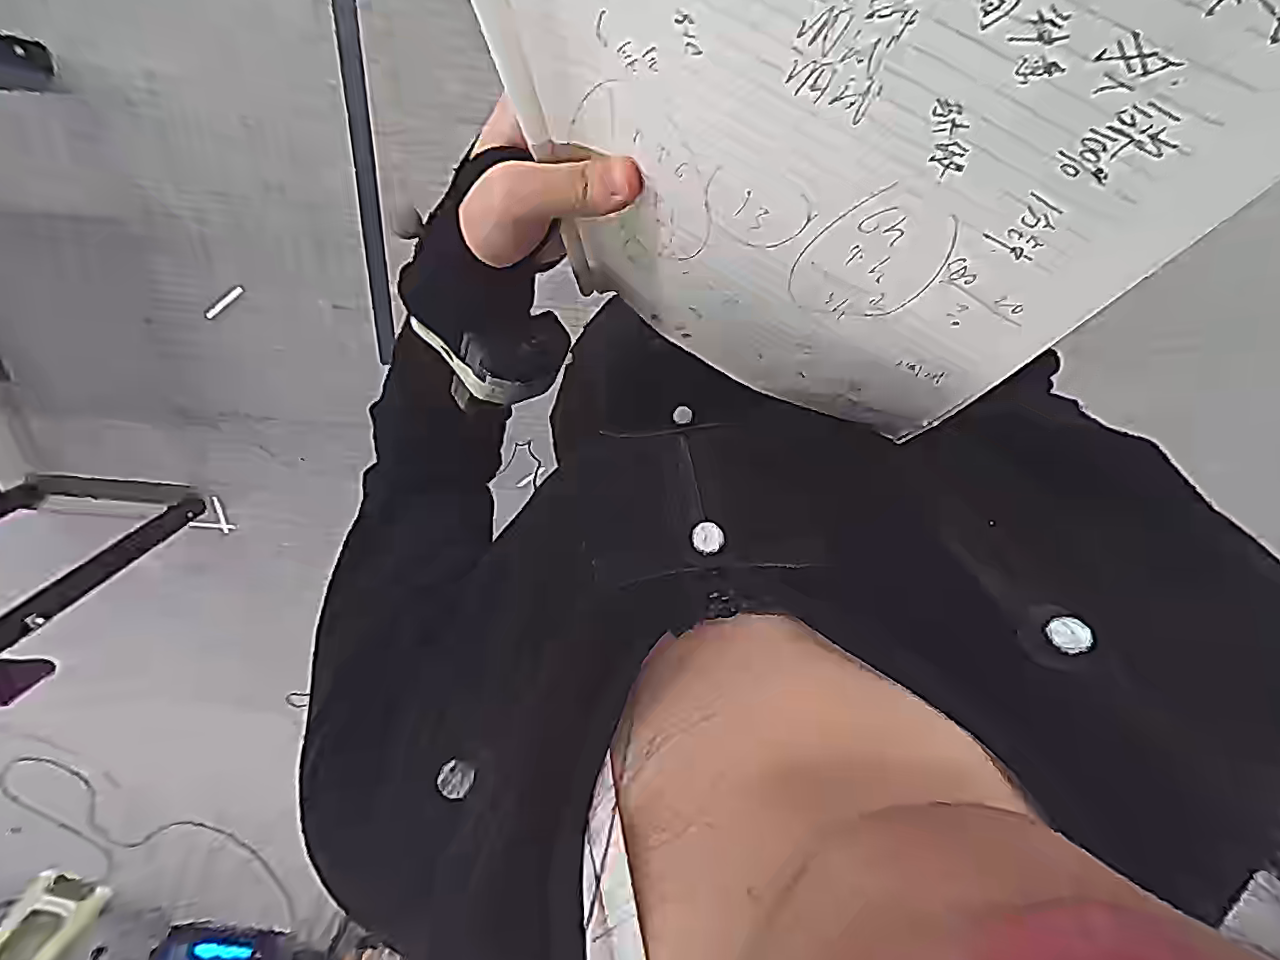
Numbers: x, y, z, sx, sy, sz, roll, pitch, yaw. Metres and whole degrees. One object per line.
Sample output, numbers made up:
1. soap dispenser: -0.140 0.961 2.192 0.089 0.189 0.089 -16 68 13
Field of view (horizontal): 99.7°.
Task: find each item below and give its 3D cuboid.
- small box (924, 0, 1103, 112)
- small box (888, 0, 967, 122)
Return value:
1. small box: 0.601 -0.744 0.888 0.168 0.176 0.179 -28 116 15
2. small box: 0.606 -0.820 1.032 0.168 0.176 0.179 -29 116 16
